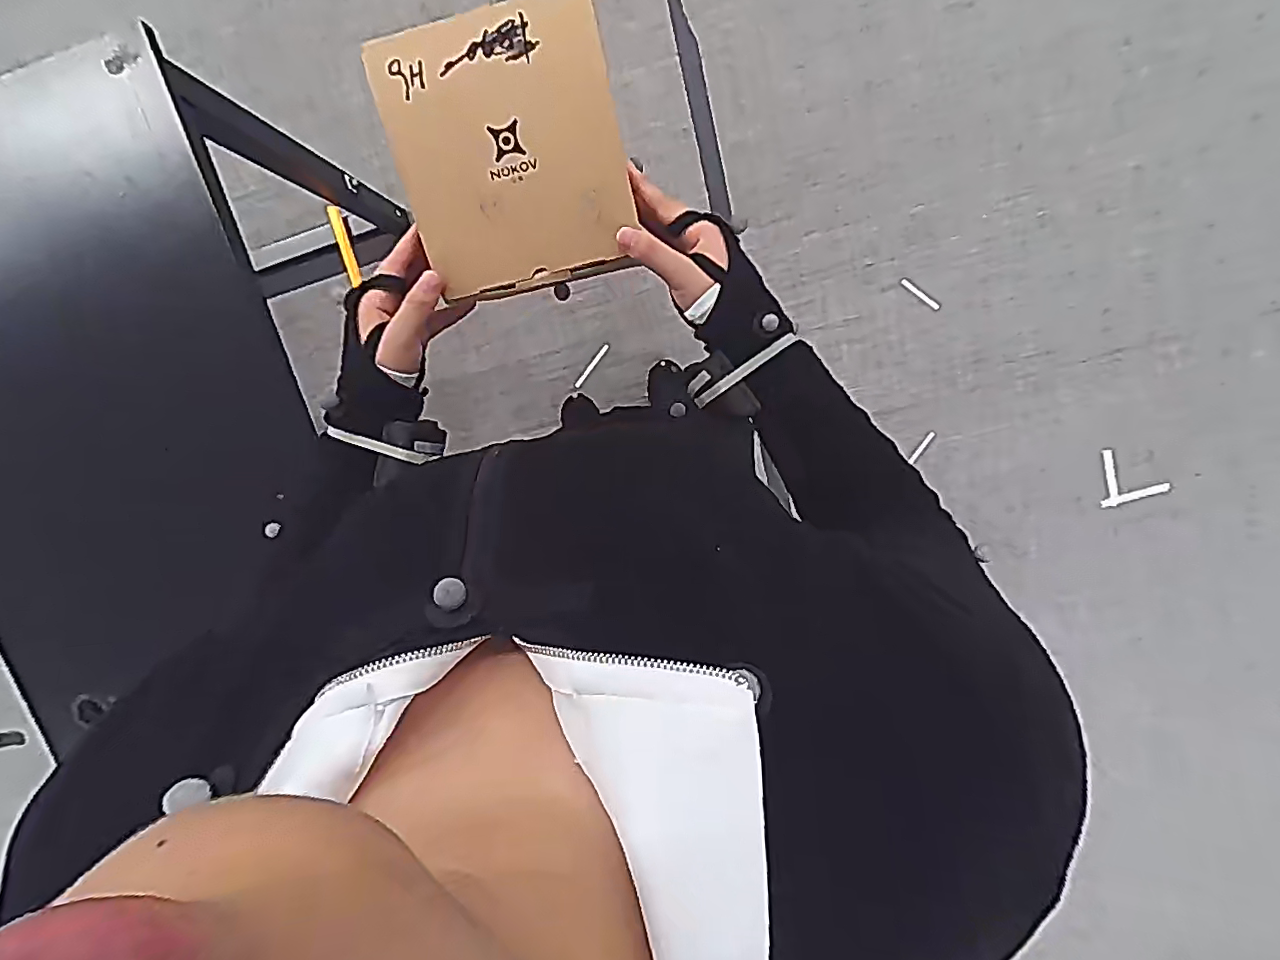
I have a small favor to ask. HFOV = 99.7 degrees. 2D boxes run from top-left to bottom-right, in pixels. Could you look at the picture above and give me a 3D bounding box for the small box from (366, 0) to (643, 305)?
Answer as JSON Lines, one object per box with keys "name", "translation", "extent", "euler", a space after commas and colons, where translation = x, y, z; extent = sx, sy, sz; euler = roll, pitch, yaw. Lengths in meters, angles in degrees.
{"name": "small box", "translation": [-0.093, -0.265, 0.473], "extent": [0.168, 0.176, 0.179], "euler": [-12, 111, 5]}
